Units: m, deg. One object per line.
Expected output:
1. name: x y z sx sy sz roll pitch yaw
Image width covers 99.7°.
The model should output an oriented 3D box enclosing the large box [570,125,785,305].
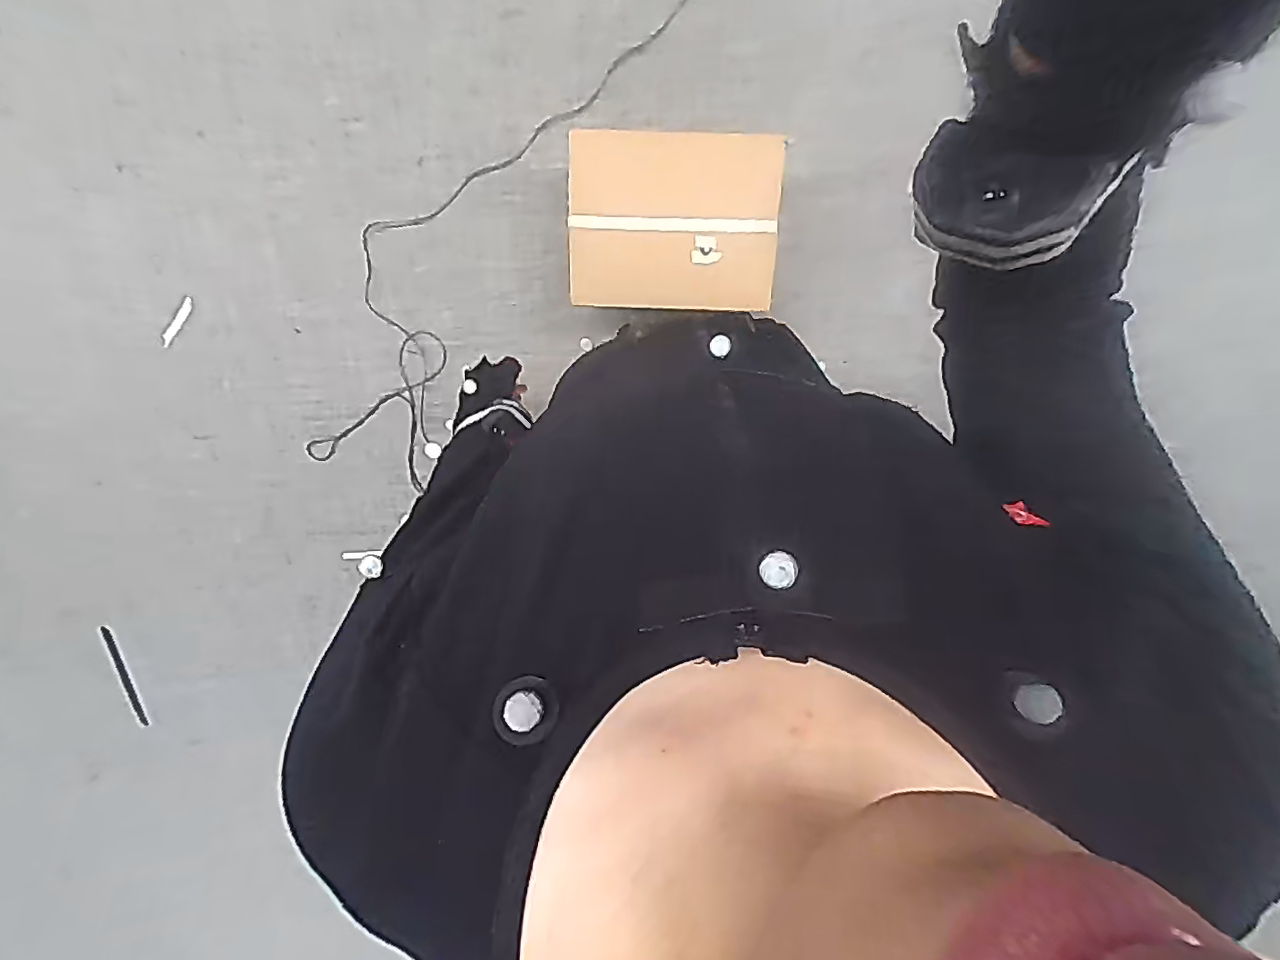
1. large box: 0.068 -0.547 1.180 0.408 0.320 0.320 1 108 1
